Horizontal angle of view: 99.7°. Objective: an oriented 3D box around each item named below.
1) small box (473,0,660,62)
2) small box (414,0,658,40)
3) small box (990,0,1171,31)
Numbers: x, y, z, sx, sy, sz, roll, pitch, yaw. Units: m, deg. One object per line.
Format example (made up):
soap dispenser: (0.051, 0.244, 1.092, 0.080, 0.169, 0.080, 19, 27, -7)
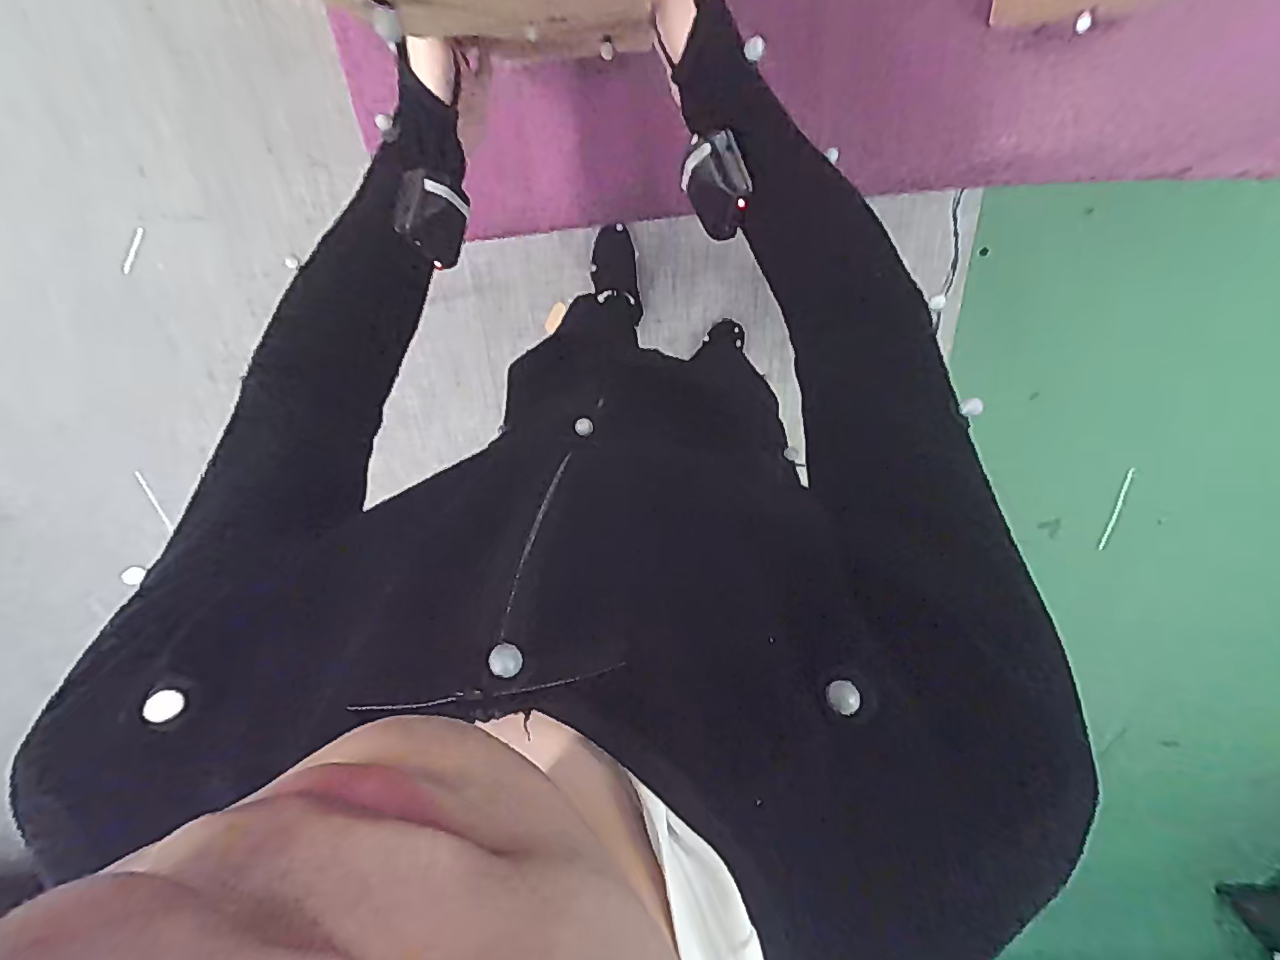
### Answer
small box: (-0.076, -0.525, 0.525, 0.179, 0.176, 0.168, -4, 122, 3)
small box: (-0.075, -0.438, 0.389, 0.179, 0.176, 0.168, -4, 123, 4)
small box: (0.497, -0.579, 0.537, 0.179, 0.176, 0.168, -6, 117, 2)
